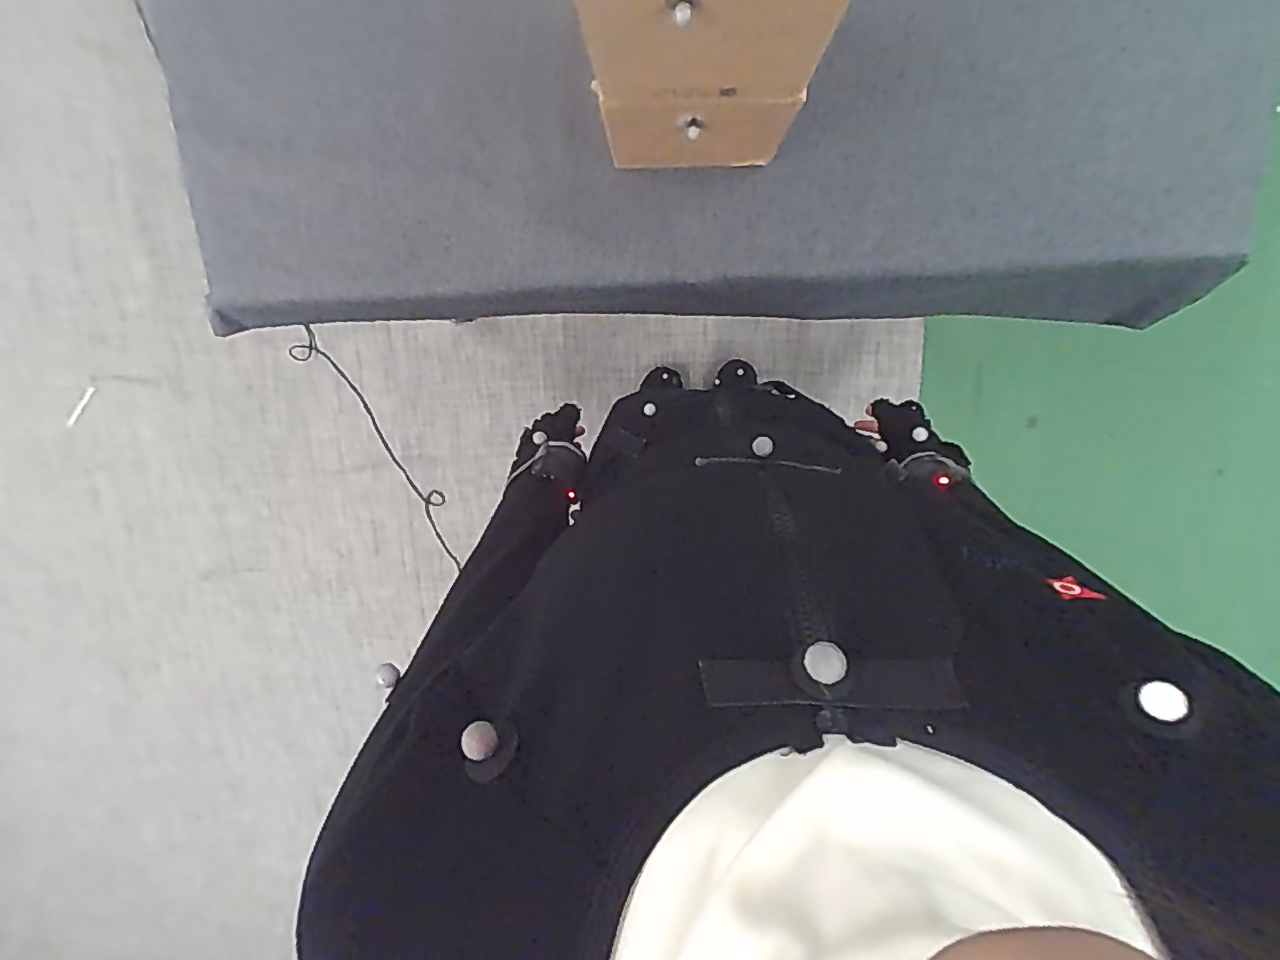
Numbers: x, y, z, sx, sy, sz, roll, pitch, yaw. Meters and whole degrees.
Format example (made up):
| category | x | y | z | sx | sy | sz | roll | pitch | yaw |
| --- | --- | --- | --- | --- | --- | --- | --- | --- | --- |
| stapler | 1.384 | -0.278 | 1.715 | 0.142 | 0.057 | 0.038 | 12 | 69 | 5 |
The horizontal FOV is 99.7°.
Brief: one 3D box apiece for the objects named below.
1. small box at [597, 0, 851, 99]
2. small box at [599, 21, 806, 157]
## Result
| category | x | y | z | sx | sy | sz | roll | pitch | yaw |
| --- | --- | --- | --- | --- | --- | --- | --- | --- | --- |
| small box | 0.051 | -0.392 | 0.362 | 0.168 | 0.176 | 0.179 | -1 | 104 | 2 |
| small box | 0.057 | -0.427 | 0.519 | 0.179 | 0.176 | 0.168 | 0 | 104 | 2 |
